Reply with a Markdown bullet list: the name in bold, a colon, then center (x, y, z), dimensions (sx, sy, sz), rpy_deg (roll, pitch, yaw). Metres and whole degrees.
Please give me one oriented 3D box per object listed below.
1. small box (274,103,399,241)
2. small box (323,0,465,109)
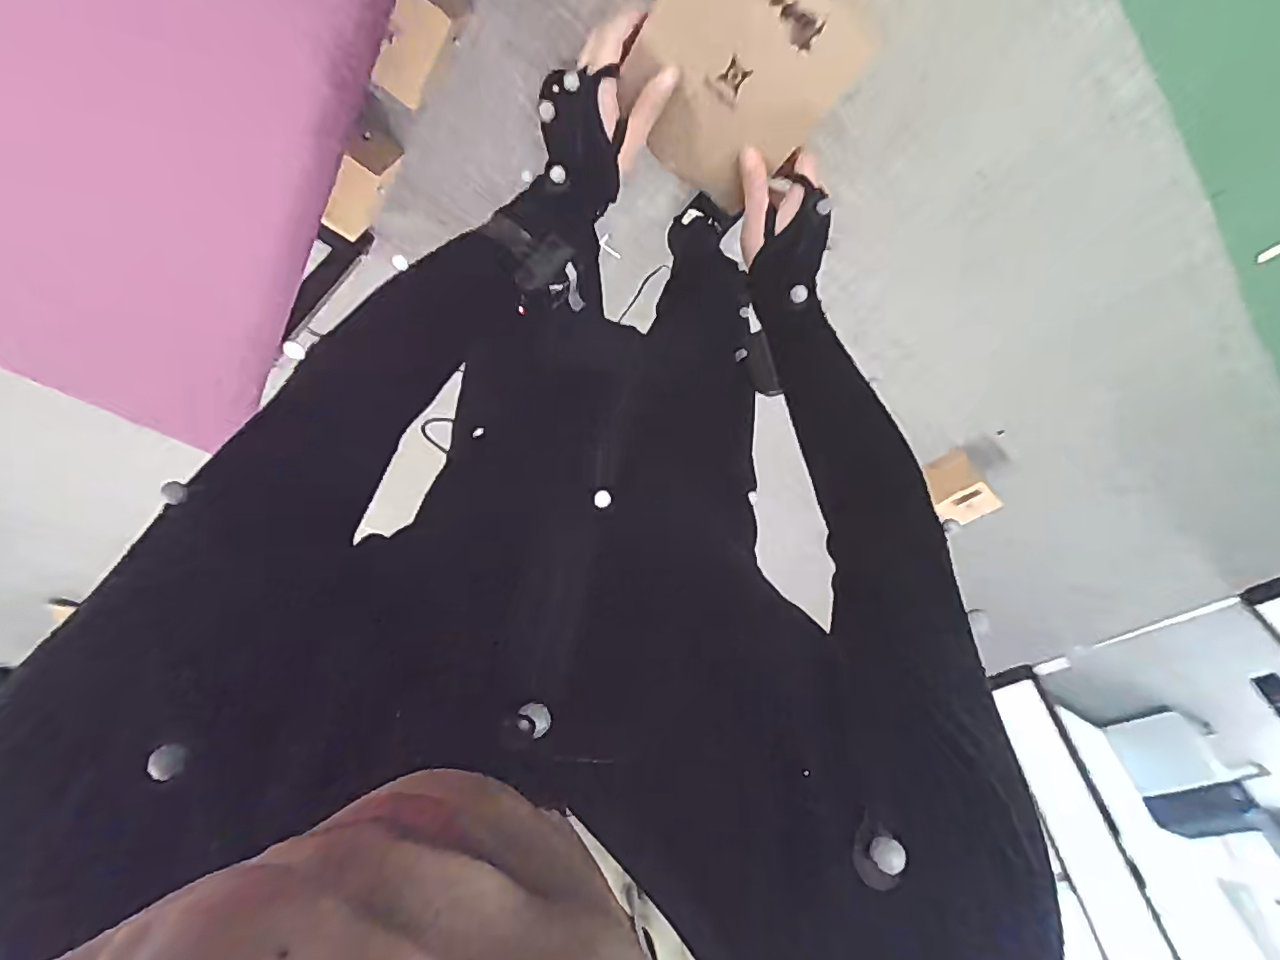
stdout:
- **small box**: center (-0.652, -0.670, 1.175), dimensions (0.168, 0.176, 0.179), rpy_deg (29, 129, -25)
- **small box**: center (-0.442, -0.840, 0.994), dimensions (0.168, 0.176, 0.179), rpy_deg (30, 130, -26)
